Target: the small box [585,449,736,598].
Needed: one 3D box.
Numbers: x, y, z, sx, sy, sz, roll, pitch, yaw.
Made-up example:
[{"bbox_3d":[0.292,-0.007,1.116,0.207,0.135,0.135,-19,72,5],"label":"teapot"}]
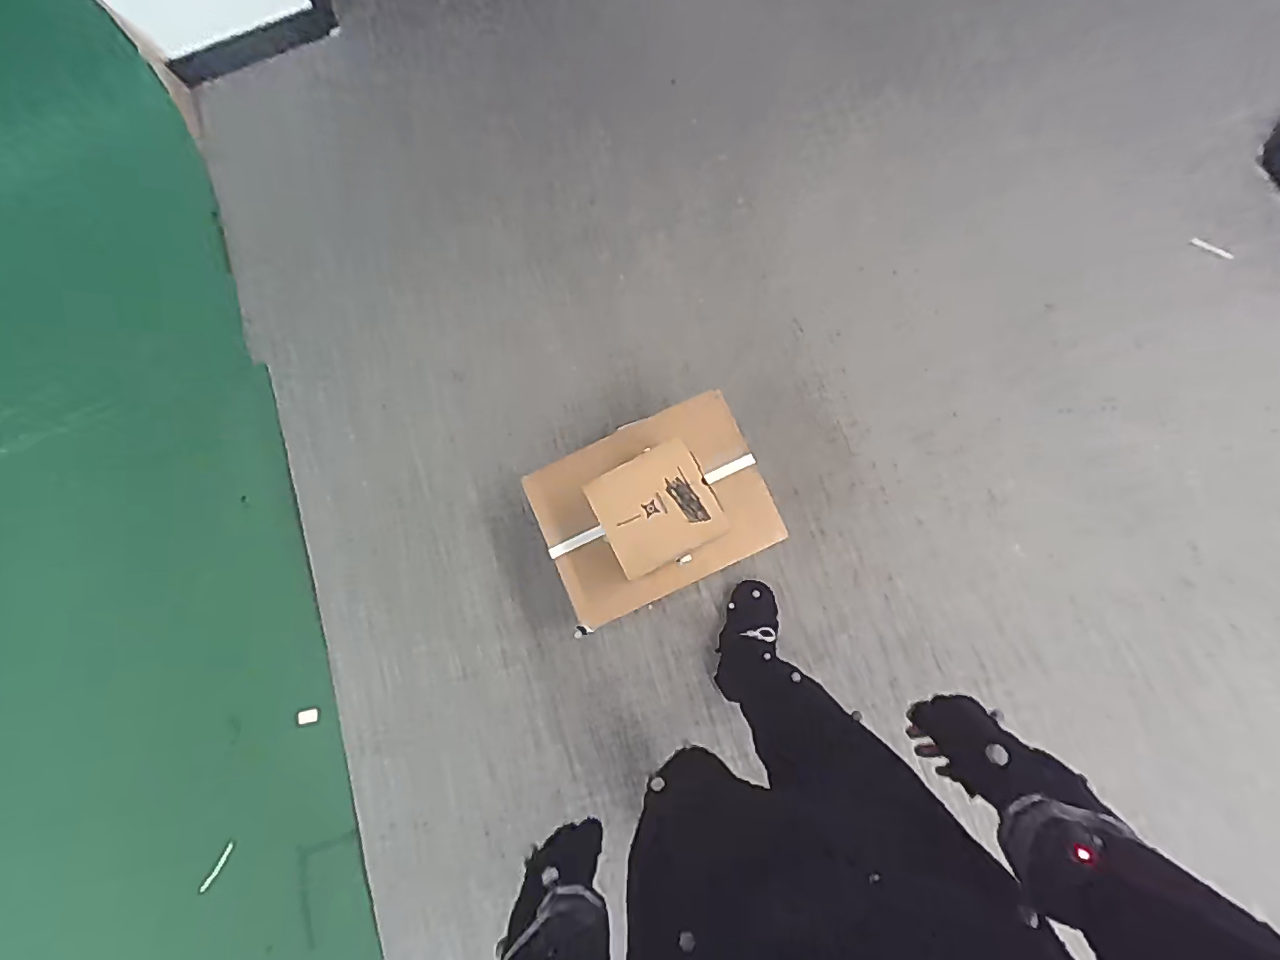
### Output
[{"bbox_3d":[0.033,0.075,0.883,0.179,0.176,0.168,-30,79,-2],"label":"small box"}]
